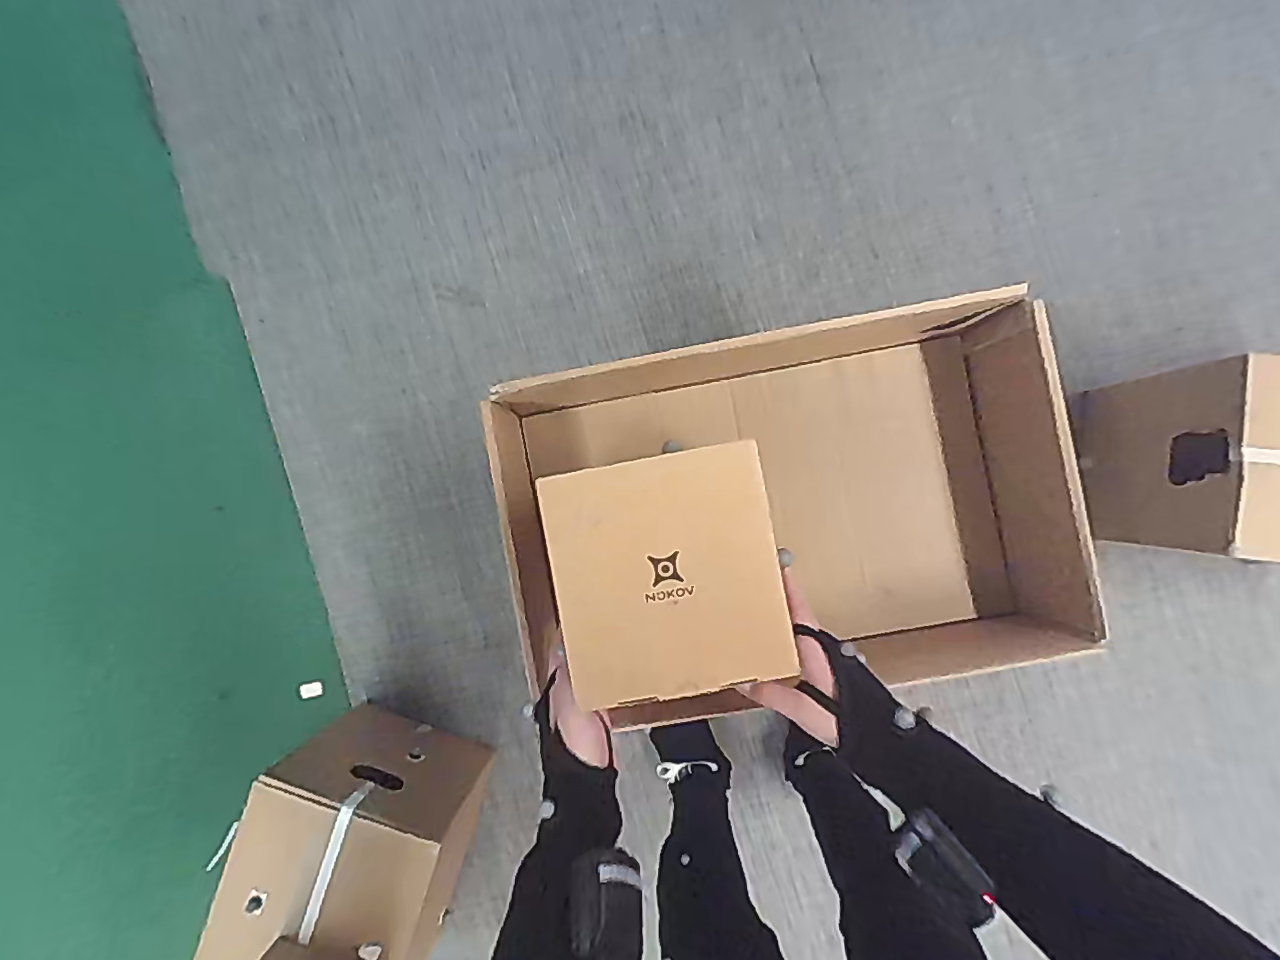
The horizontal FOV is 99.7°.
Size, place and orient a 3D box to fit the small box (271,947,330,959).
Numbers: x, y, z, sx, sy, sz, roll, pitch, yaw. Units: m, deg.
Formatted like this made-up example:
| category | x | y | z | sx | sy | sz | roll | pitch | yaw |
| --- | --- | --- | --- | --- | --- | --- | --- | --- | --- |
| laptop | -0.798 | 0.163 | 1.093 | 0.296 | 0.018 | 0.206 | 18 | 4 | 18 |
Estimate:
| category | x | y | z | sx | sy | sz | roll | pitch | yaw |
| --- | --- | --- | --- | --- | --- | --- | --- | --- | --- |
| small box | -0.485 | 0.787 | 0.723 | 0.179 | 0.176 | 0.168 | 18 | 89 | 1 |

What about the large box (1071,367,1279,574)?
| category | x | y | z | sx | sy | sz | roll | pitch | yaw |
| --- | --- | --- | --- | --- | --- | --- | --- | --- | --- |
| large box | 1.092 | 0.001 | 0.958 | 0.408 | 0.320 | 0.320 | 6 | 88 | 3 |

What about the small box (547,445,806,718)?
| category | x | y | z | sx | sy | sz | roll | pitch | yaw |
| --- | --- | --- | --- | --- | --- | --- | --- | --- | --- |
| small box | 0.026 | 0.075 | 0.469 | 0.168 | 0.176 | 0.179 | -10 | 89 | 2 |
